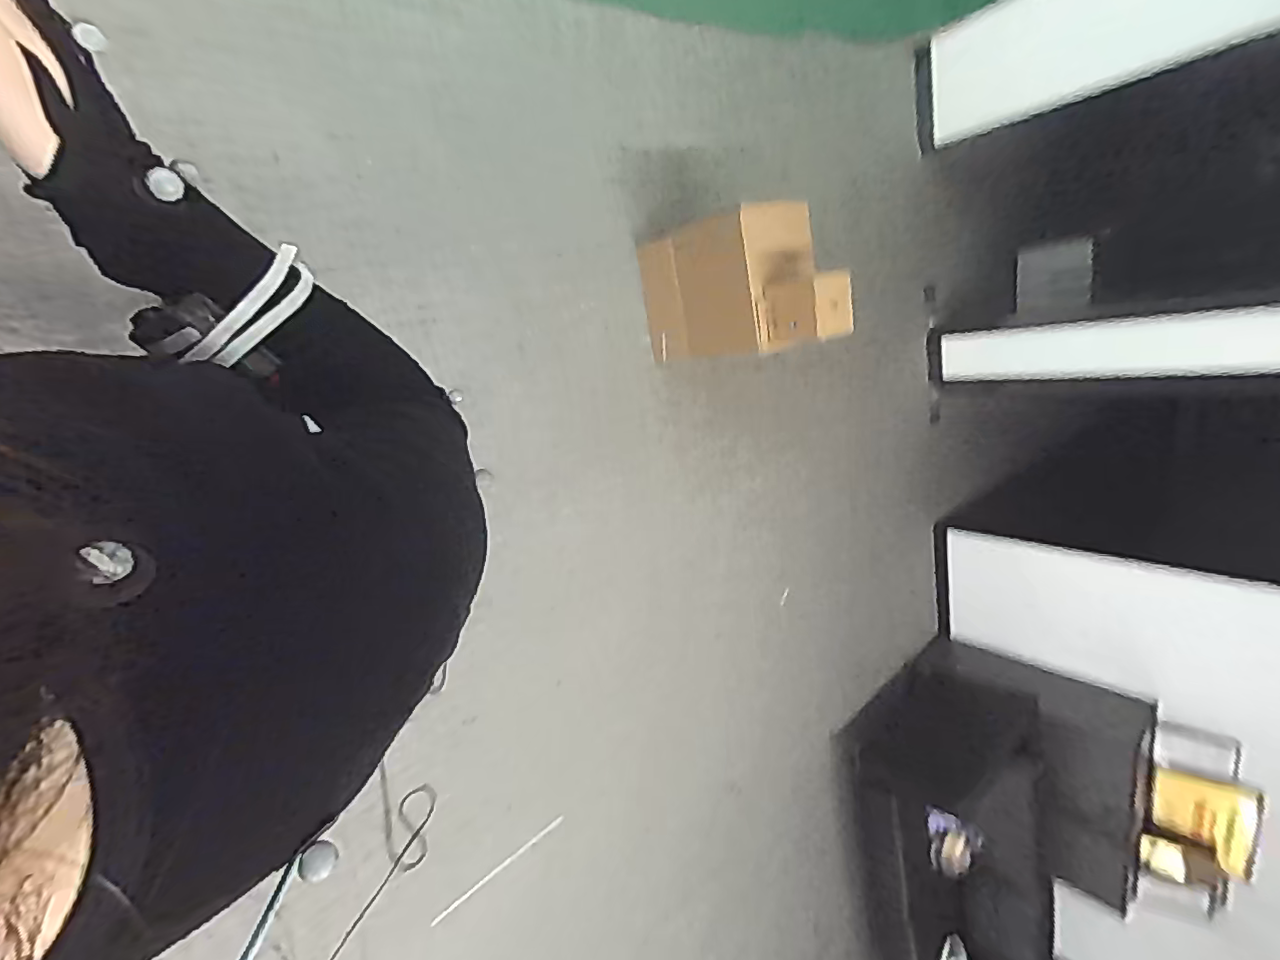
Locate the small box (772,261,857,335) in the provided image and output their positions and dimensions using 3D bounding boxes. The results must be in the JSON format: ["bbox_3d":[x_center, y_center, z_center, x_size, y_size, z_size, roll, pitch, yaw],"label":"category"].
[{"bbox_3d":[0.490,-0.515,1.540,0.179,0.176,0.168,-21,108,-35],"label":"small box"}]
